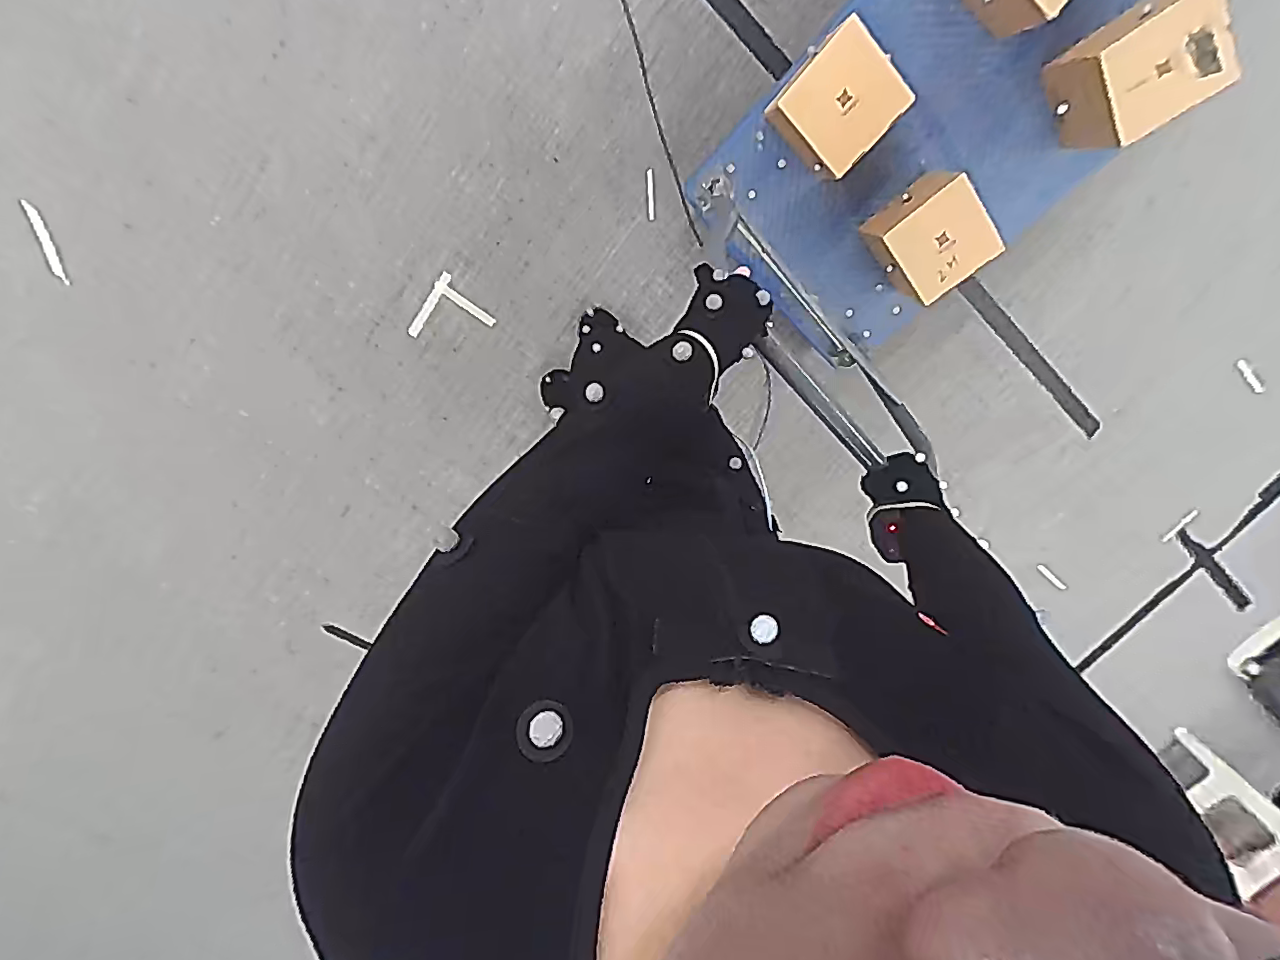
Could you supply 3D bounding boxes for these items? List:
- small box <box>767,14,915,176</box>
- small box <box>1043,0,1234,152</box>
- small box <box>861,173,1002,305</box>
[{"bbox_3d":[0.357,-0.692,0.998,0.179,0.176,0.168,39,115,-19],"label":"small box"},{"bbox_3d":[0.865,-0.711,0.951,0.179,0.176,0.168,-29,114,20],"label":"small box"},{"bbox_3d":[0.579,-0.490,1.099,0.168,0.176,0.179,-36,112,22],"label":"small box"}]
